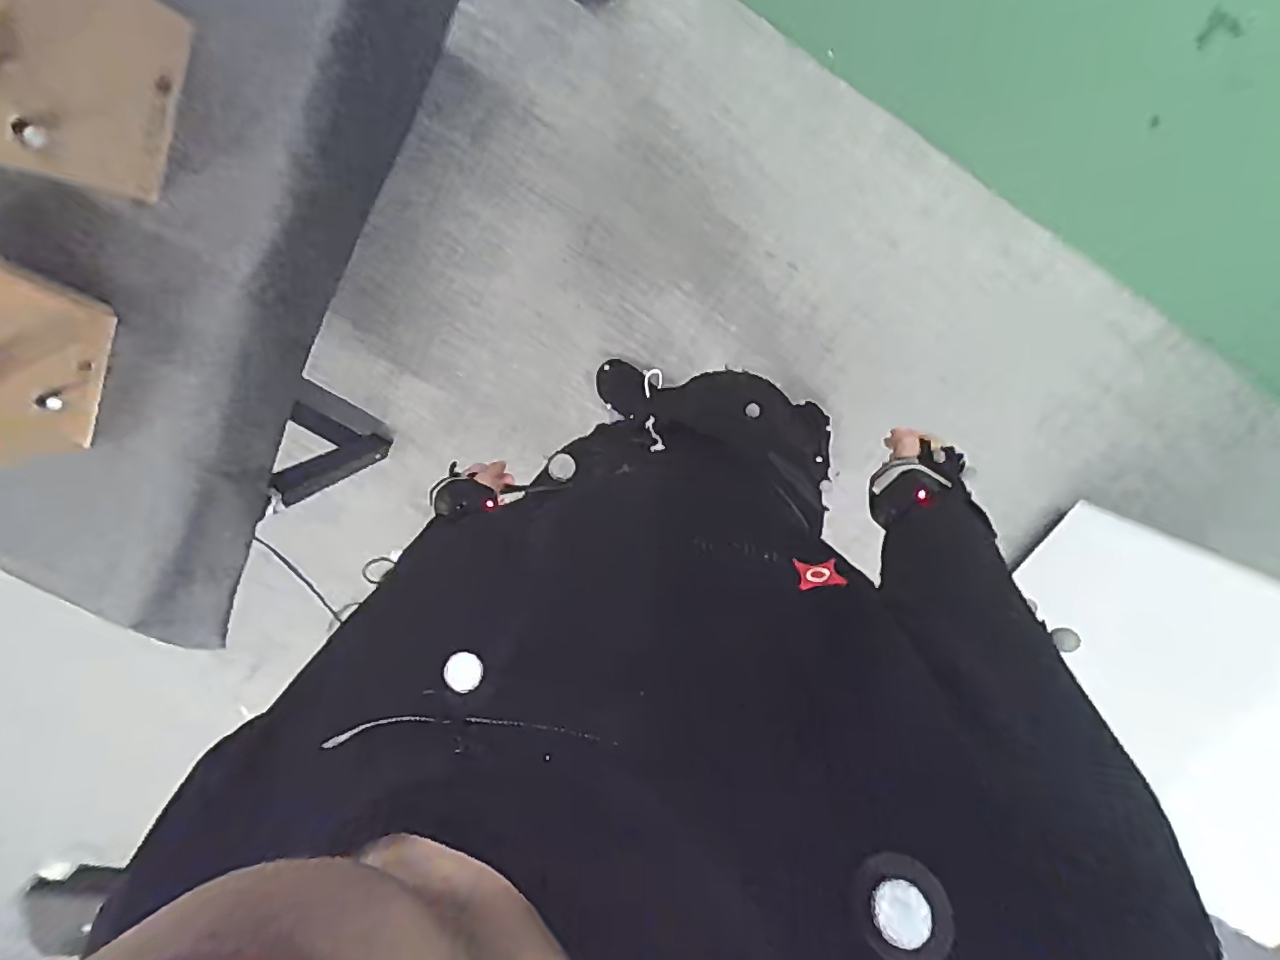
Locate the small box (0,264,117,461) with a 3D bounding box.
[{"bbox_3d":[-0.662,-0.117,0.501,0.179,0.176,0.168,25,104,-6],"label":"small box"}]
